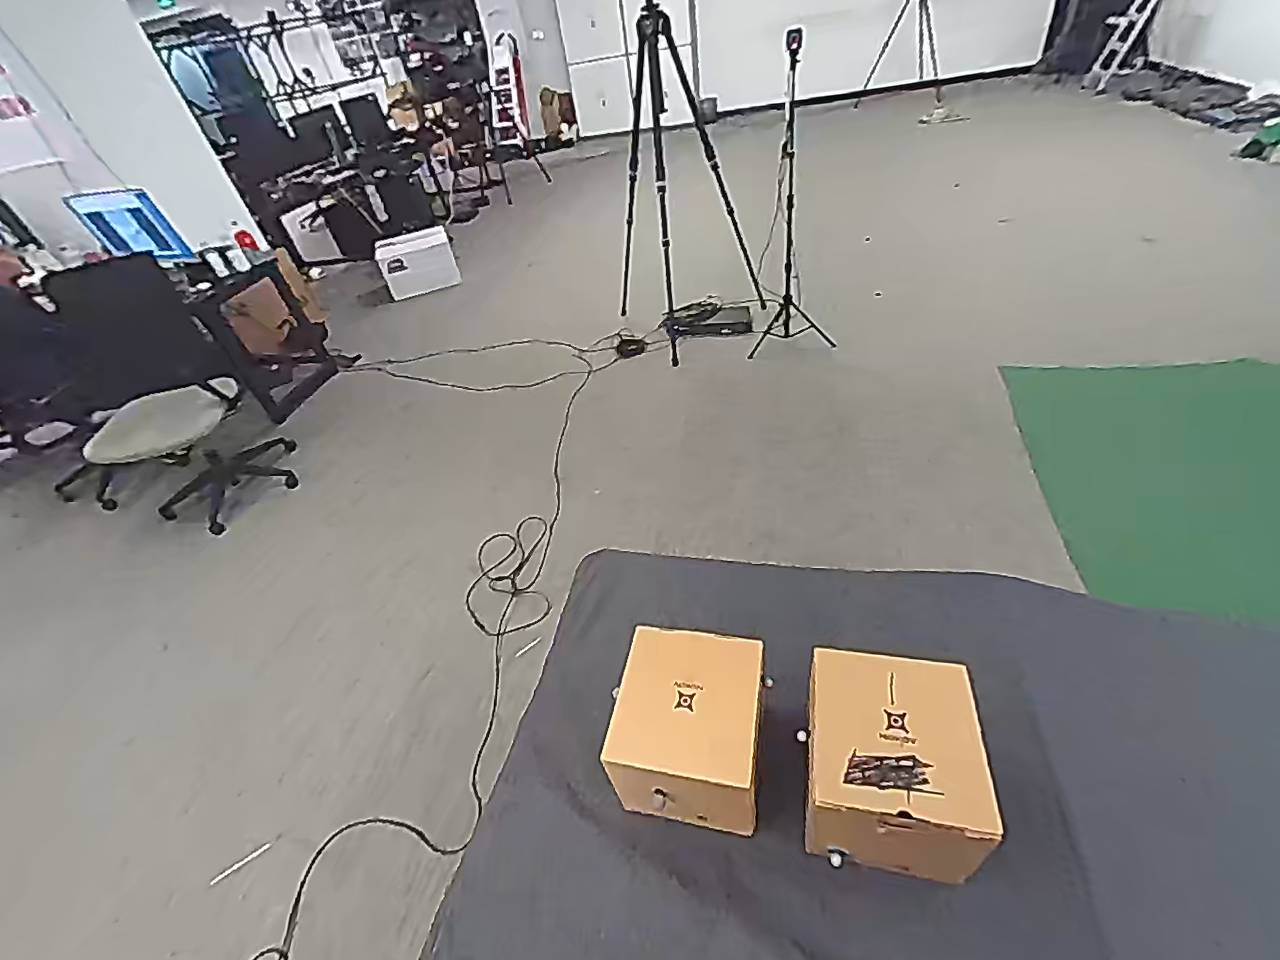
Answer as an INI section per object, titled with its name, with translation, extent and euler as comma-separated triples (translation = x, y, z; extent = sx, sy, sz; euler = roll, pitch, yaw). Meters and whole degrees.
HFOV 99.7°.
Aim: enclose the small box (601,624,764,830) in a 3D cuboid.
[small box]
translation = 0.066, 0.311, 0.683
extent = 0.168, 0.176, 0.179
euler = 3, 43, 16
